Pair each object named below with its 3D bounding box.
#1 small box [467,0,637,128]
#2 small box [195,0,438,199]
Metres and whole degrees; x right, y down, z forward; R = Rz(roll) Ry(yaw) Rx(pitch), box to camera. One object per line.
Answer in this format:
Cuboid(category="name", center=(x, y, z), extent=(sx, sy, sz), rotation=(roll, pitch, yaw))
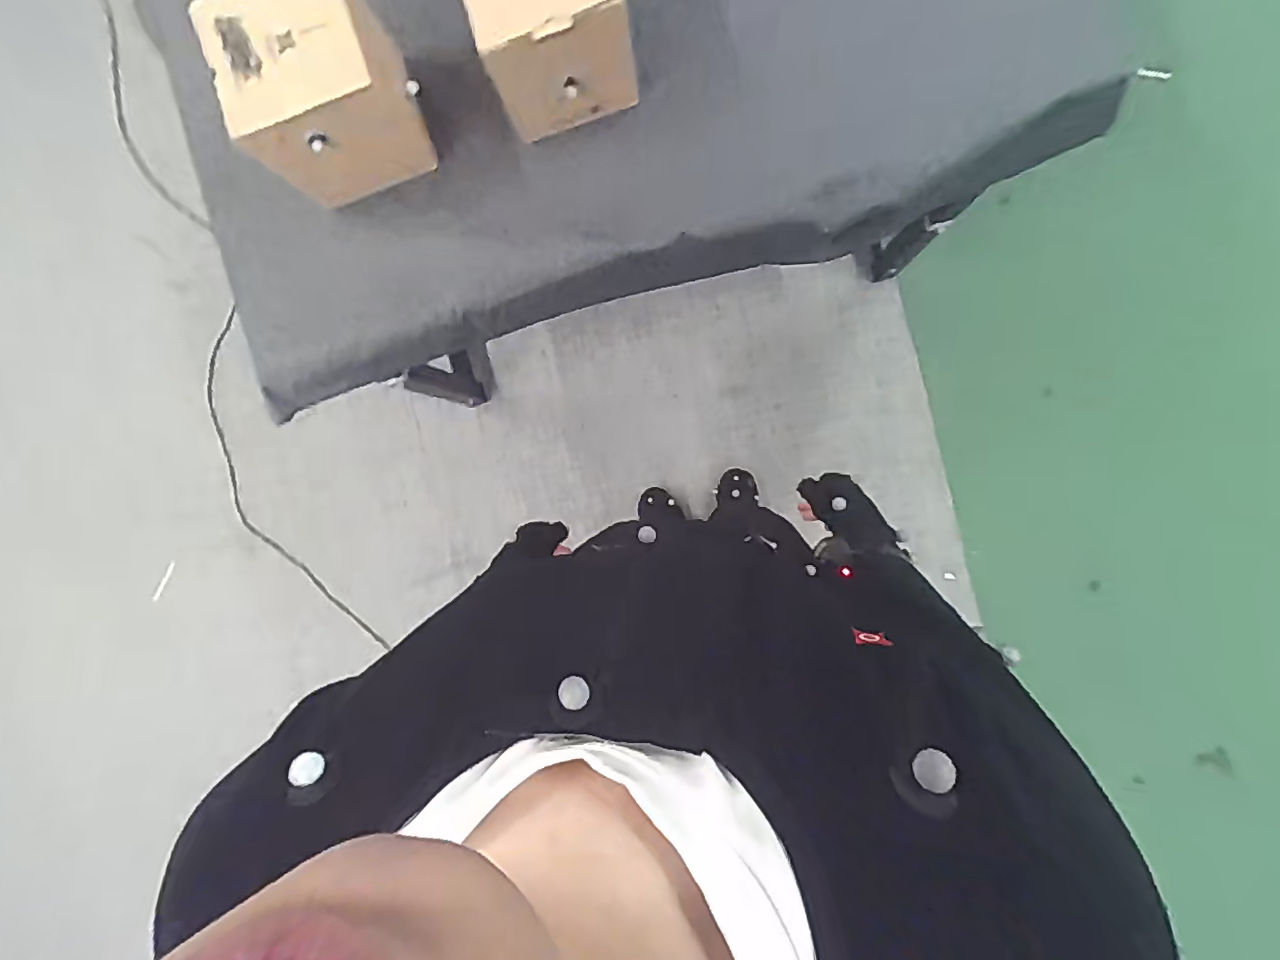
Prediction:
Cuboid(category="small box", center=(-0.107, -0.566, 0.652), extent=(0.168, 0.176, 0.179), rotation=(-16, 91, 6))
Cuboid(category="small box", center=(-0.389, -0.490, 0.679), extent=(0.179, 0.176, 0.168), rotation=(-18, 90, 5))
